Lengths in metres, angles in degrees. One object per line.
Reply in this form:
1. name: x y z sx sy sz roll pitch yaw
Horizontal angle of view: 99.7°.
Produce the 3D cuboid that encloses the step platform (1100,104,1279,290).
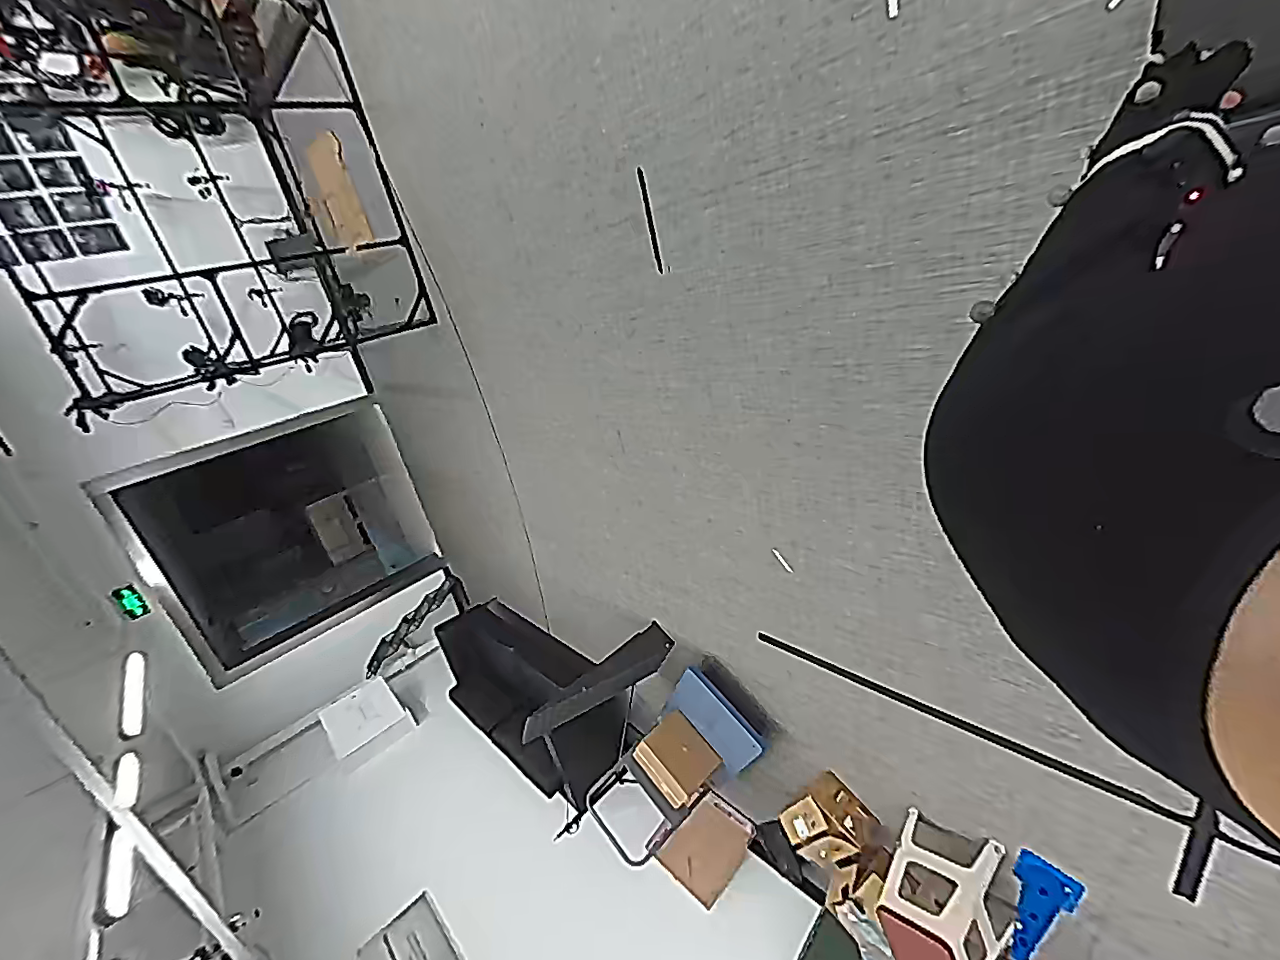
1. step platform: 1.211 -0.507 0.896 0.684 0.204 0.286 12 123 49
